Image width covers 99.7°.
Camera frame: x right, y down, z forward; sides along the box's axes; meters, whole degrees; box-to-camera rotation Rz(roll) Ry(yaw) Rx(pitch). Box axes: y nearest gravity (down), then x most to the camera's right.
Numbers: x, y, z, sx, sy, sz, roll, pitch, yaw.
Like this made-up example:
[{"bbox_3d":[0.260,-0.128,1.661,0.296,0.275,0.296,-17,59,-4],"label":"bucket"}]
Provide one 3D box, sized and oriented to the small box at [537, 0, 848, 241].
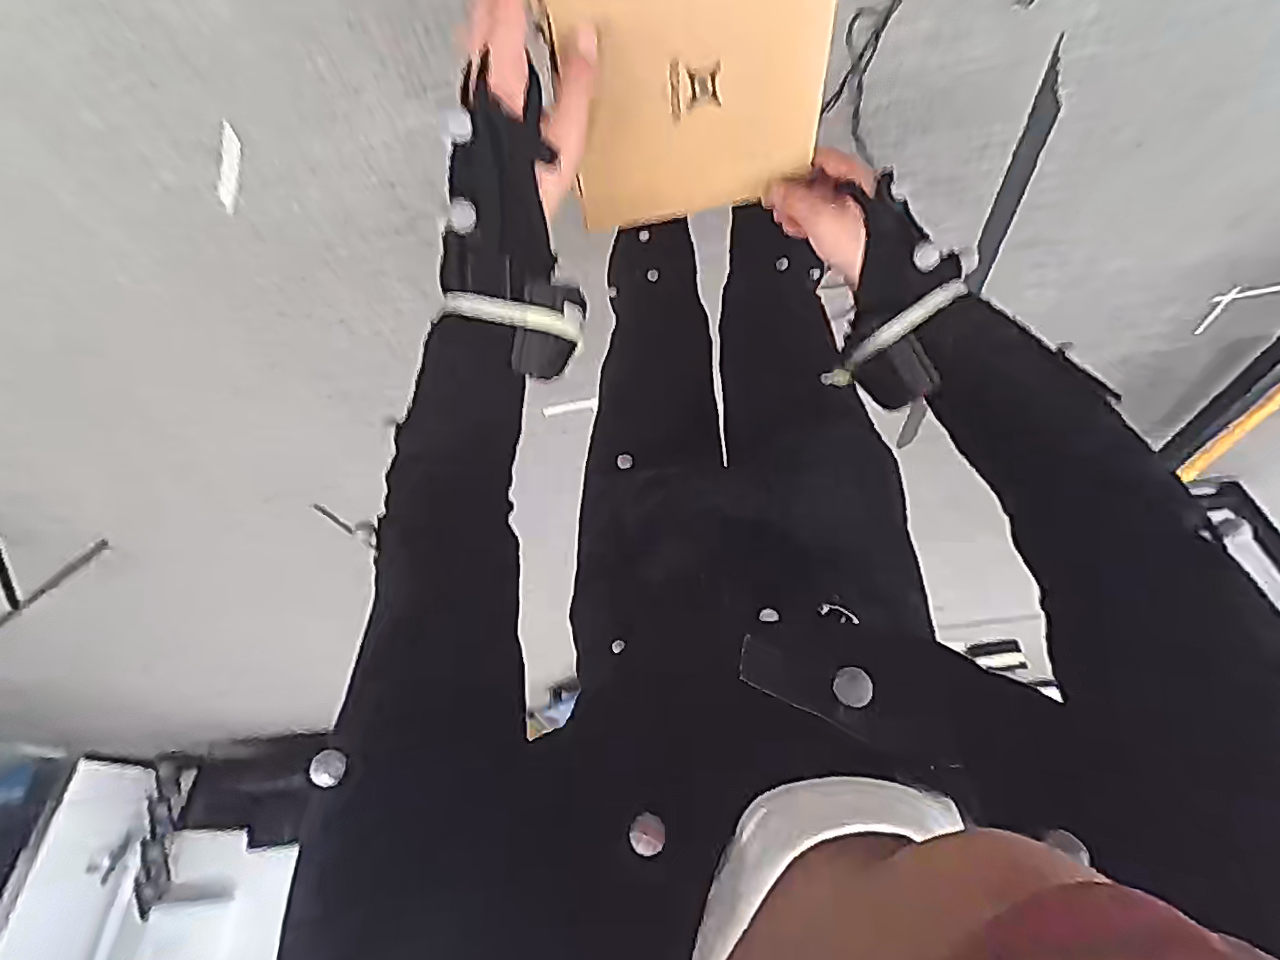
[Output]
[{"bbox_3d":[0.025,-0.307,0.385,0.179,0.176,0.168,-12,147,-1],"label":"small box"}]
